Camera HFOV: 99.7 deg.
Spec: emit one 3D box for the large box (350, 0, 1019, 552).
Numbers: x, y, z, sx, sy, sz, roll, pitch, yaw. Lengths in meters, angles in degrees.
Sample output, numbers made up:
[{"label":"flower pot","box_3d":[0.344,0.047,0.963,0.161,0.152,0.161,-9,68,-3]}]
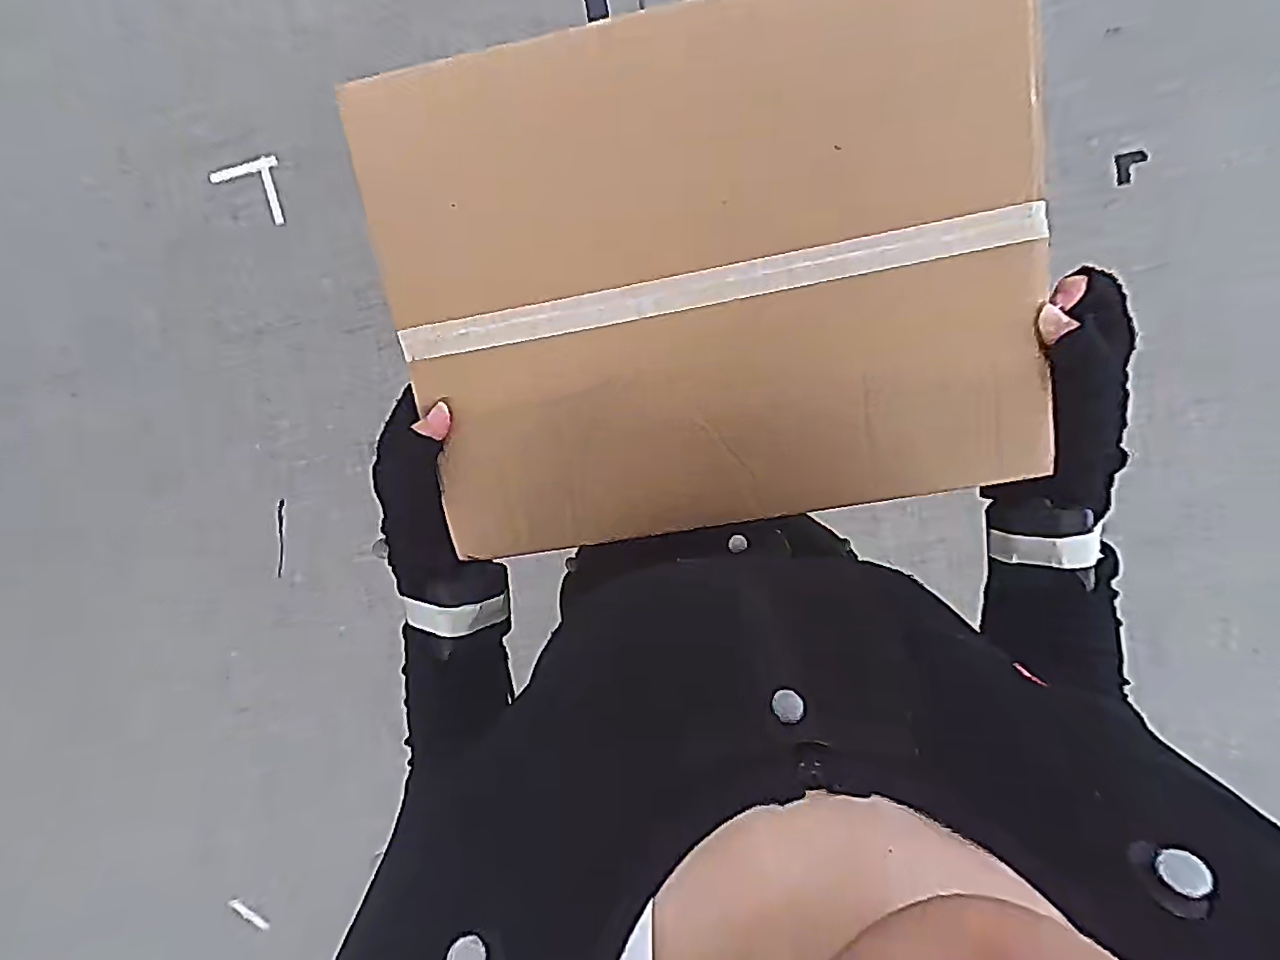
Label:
[{"label":"large box","box_3d":[0.045,-0.158,0.498,0.408,0.320,0.320,-9,101,6]}]
